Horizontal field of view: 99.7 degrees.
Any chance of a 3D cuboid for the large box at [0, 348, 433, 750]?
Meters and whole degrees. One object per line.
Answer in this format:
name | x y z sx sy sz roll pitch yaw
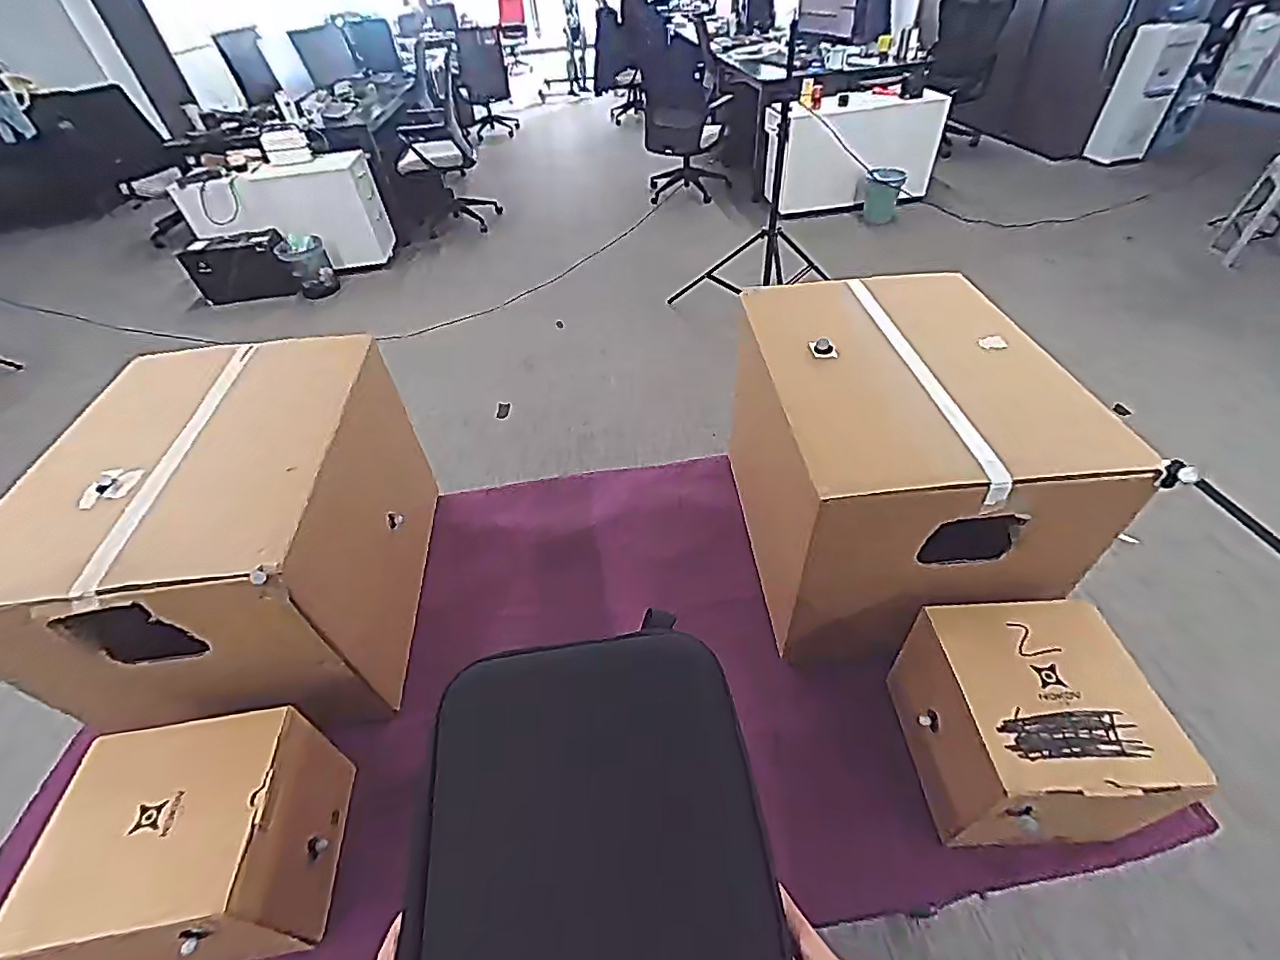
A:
large box | -0.486 0.077 0.711 0.320 0.320 0.408 -8 47 -4
